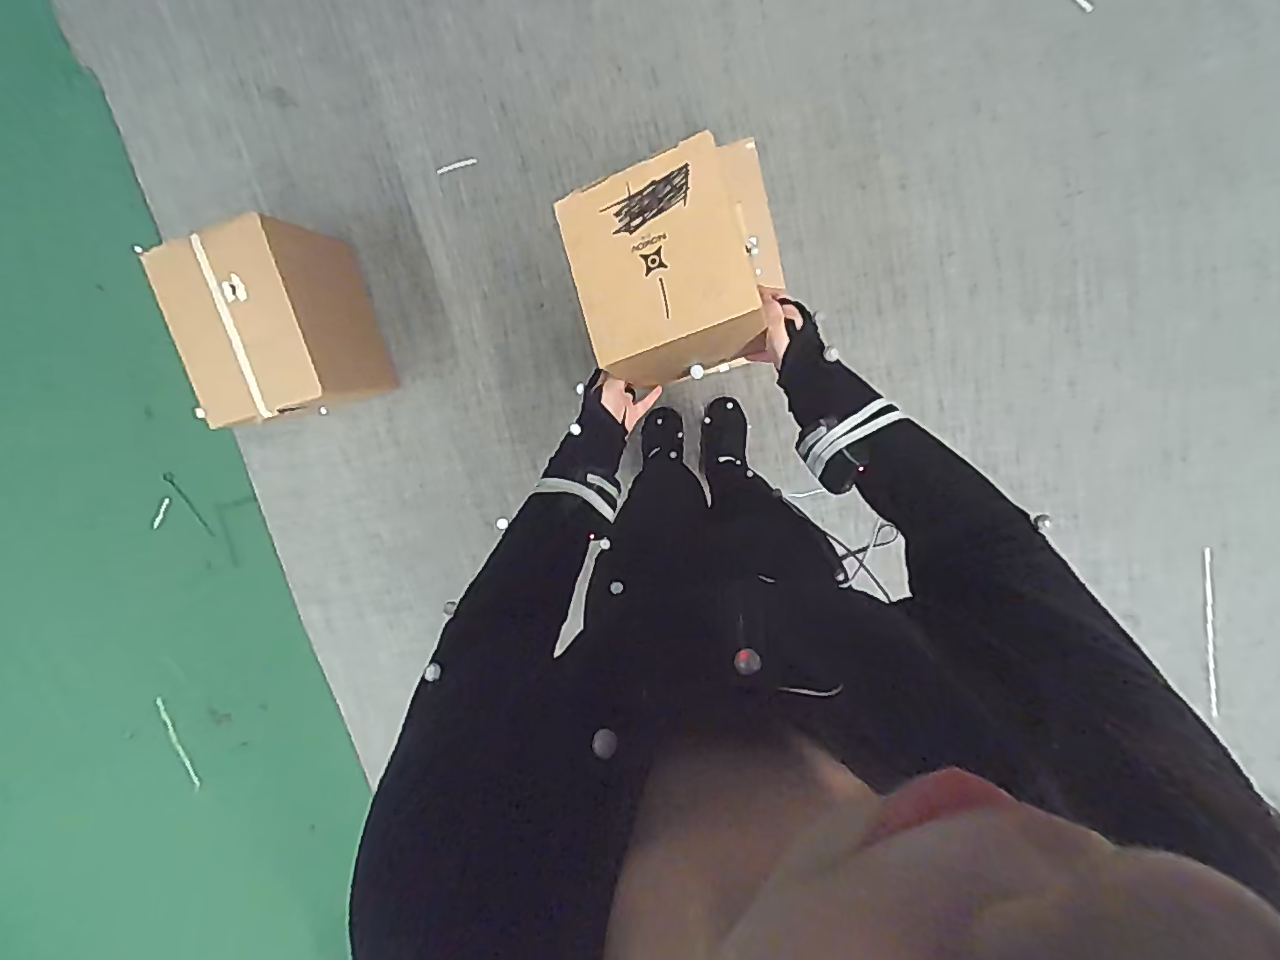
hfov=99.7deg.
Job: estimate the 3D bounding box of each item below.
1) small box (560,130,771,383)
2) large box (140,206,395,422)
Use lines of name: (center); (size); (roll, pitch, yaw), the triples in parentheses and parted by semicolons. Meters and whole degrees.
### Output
small box: (0.038, -0.221, 0.589); (0.168, 0.176, 0.179); (-17, 87, 17)
large box: (-0.884, -0.386, 1.337); (0.320, 0.320, 0.408); (-13, 100, 10)
